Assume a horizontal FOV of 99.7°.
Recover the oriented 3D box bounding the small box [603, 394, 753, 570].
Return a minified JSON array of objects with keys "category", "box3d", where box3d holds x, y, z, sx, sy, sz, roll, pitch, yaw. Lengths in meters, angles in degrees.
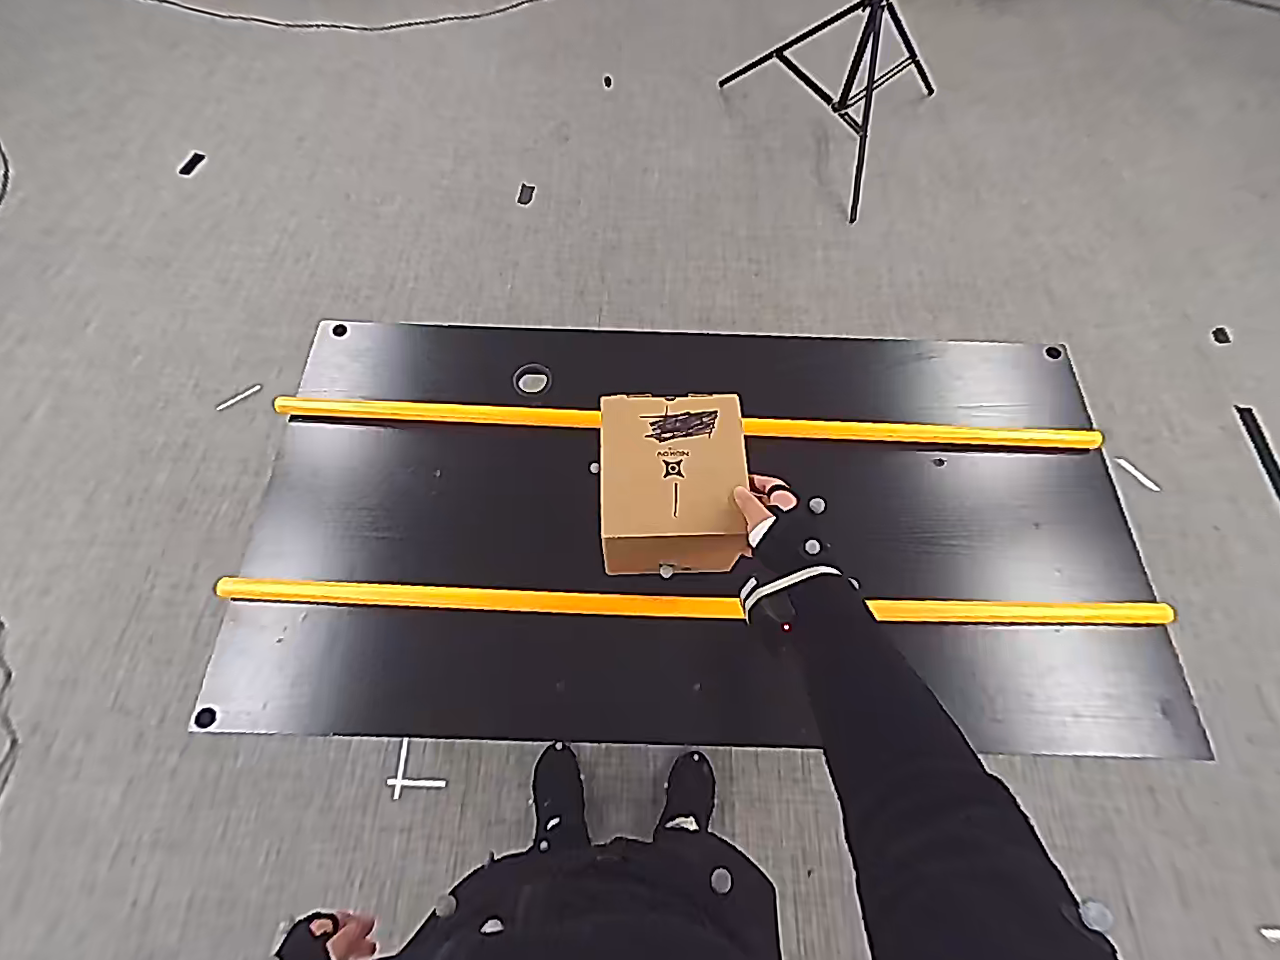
[{"category":"small box","box3d":[0.038,0.008,0.687,0.168,0.176,0.179,-1,67,-1]}]
